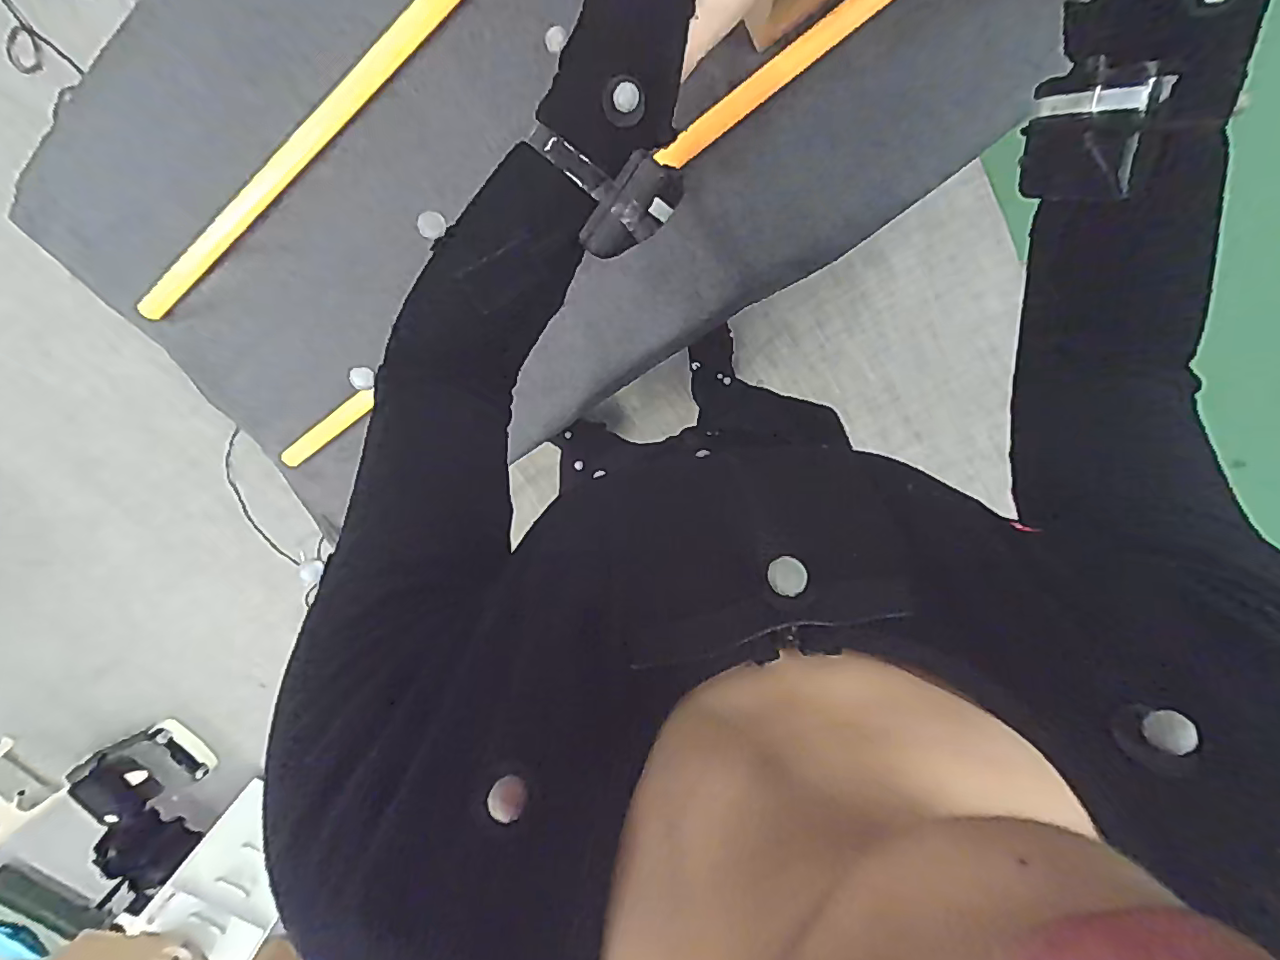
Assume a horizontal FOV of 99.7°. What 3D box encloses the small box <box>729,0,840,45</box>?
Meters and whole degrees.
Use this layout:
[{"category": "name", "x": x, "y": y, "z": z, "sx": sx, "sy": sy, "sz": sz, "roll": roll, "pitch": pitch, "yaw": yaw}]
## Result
[{"category": "small box", "x": 0.135, "y": -0.486, "z": 0.420, "sx": 0.168, "sy": 0.176, "sz": 0.179, "roll": -27, "pitch": 109, "yaw": 18}]
